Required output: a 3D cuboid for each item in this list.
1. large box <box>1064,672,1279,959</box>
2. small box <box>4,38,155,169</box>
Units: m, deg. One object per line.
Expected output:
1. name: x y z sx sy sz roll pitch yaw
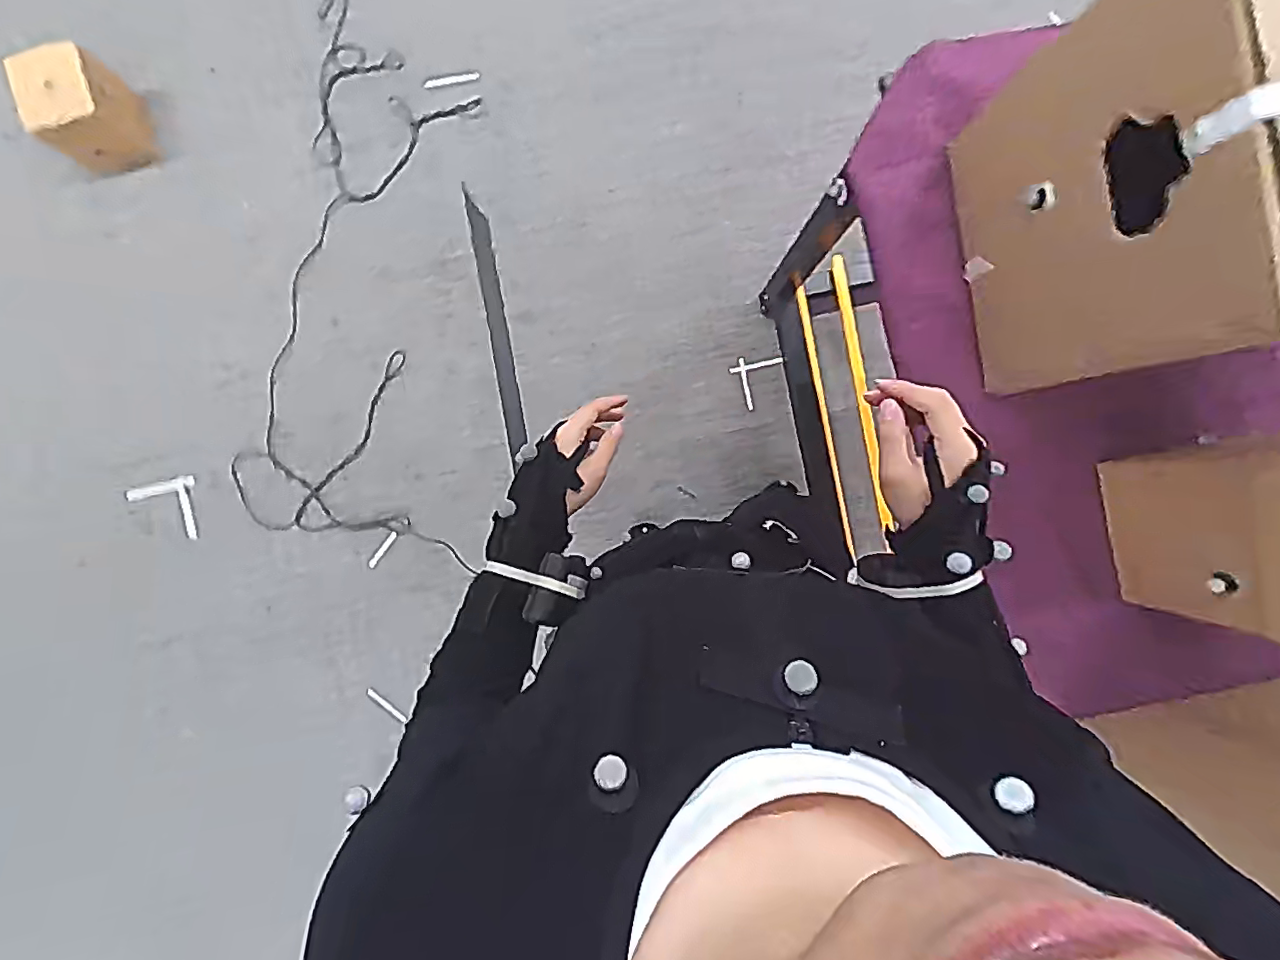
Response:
1. large box: 0.734 0.397 0.507 0.408 0.320 0.320 -12 90 -2
2. small box: -1.326 -0.890 1.293 0.168 0.176 0.179 -16 90 -1
